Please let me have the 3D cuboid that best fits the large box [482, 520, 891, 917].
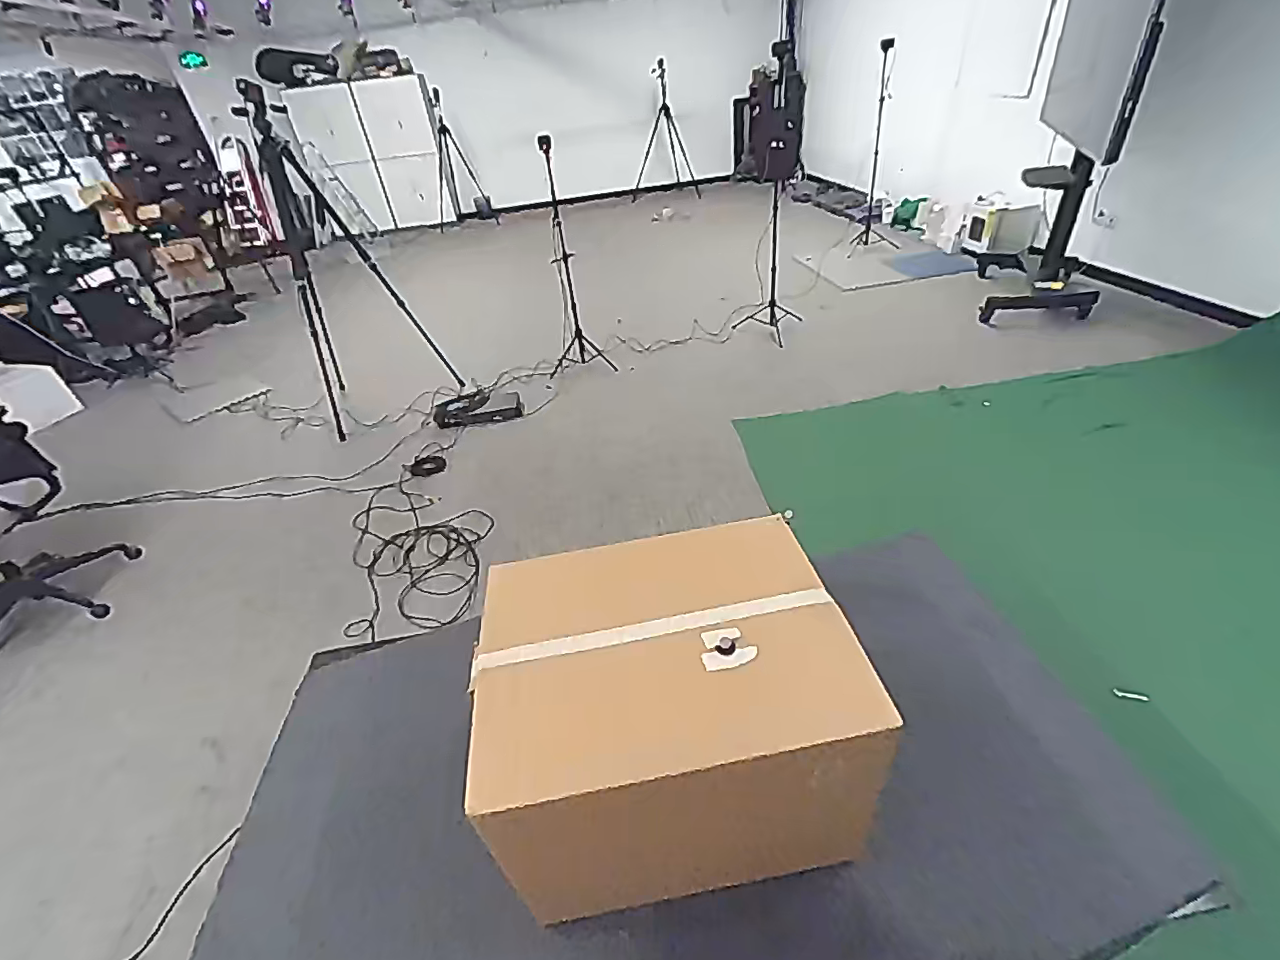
[{"bbox_3d":[0.039,0.296,0.707,0.408,0.320,0.320,-10,37,-4],"label":"large box"}]
